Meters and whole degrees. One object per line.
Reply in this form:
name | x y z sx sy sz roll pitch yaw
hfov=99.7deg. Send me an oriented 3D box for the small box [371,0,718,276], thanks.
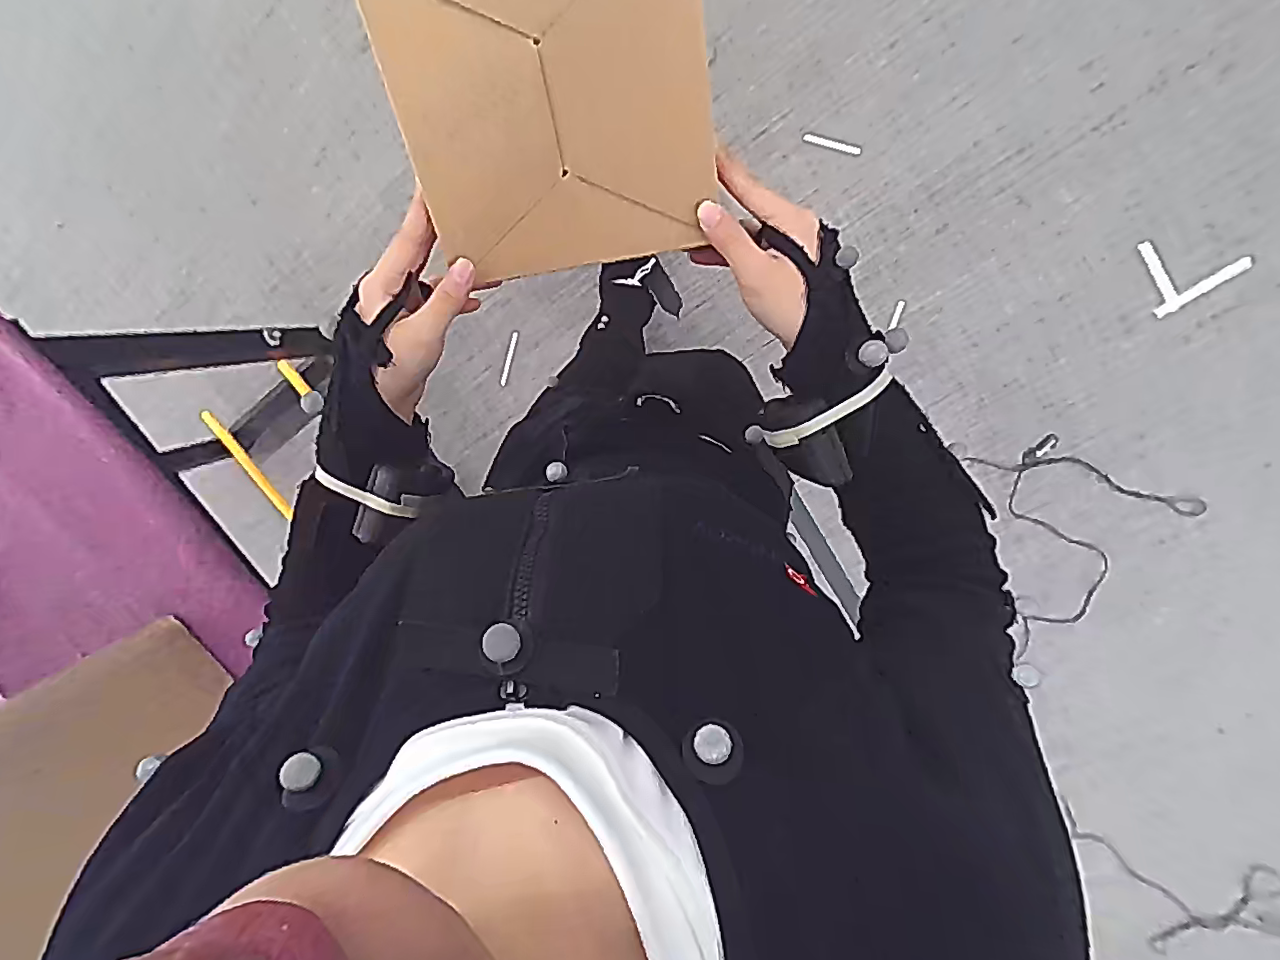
small box | -0.047 -0.250 0.373 0.179 0.176 0.168 -7 122 6
